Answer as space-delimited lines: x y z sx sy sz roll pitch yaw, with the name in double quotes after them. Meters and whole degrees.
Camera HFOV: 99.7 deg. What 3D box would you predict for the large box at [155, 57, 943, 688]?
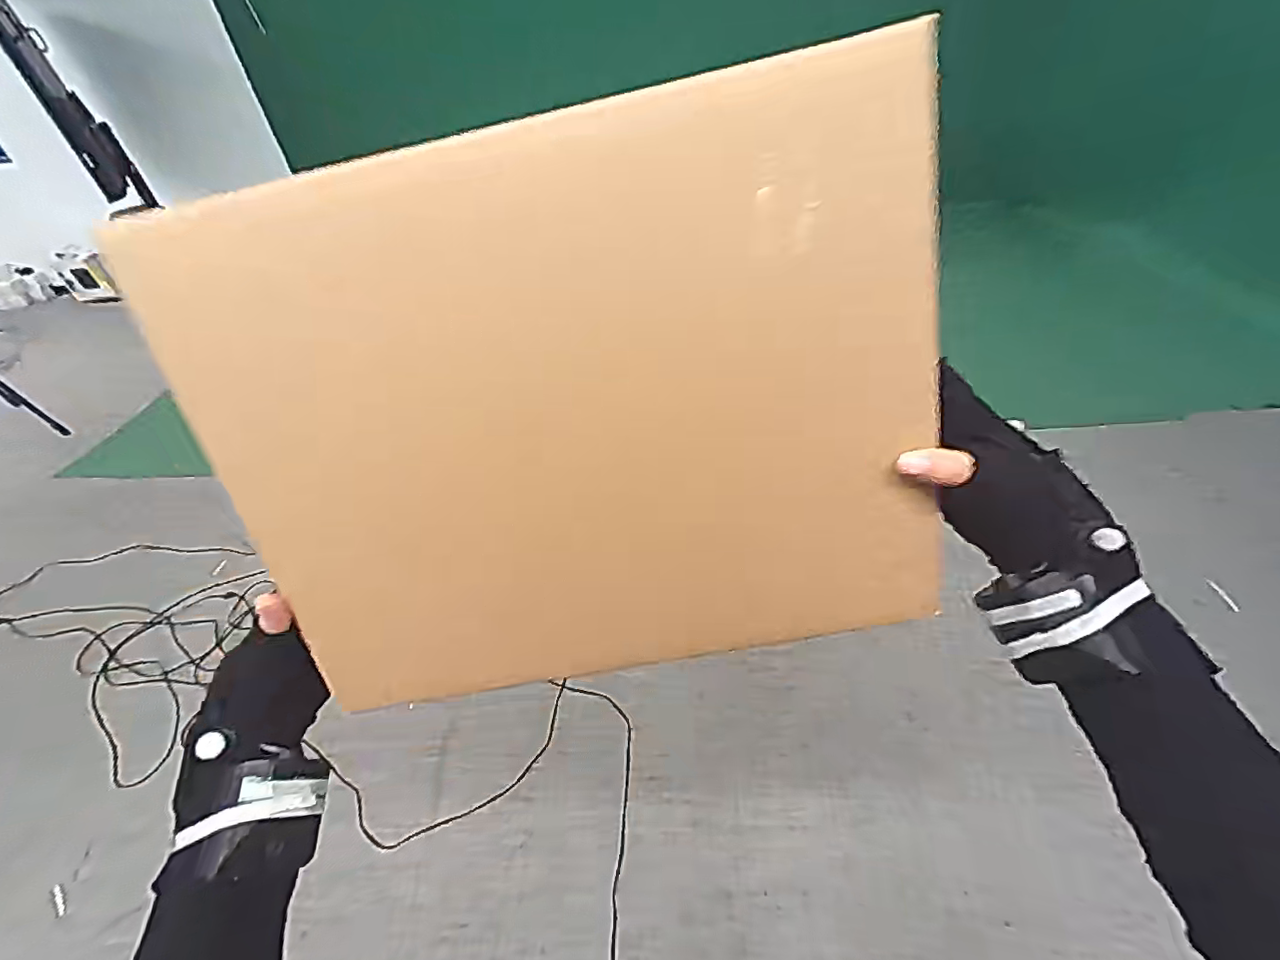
-0.028 -0.075 0.451 0.408 0.320 0.320 -9 21 3 "large box"
